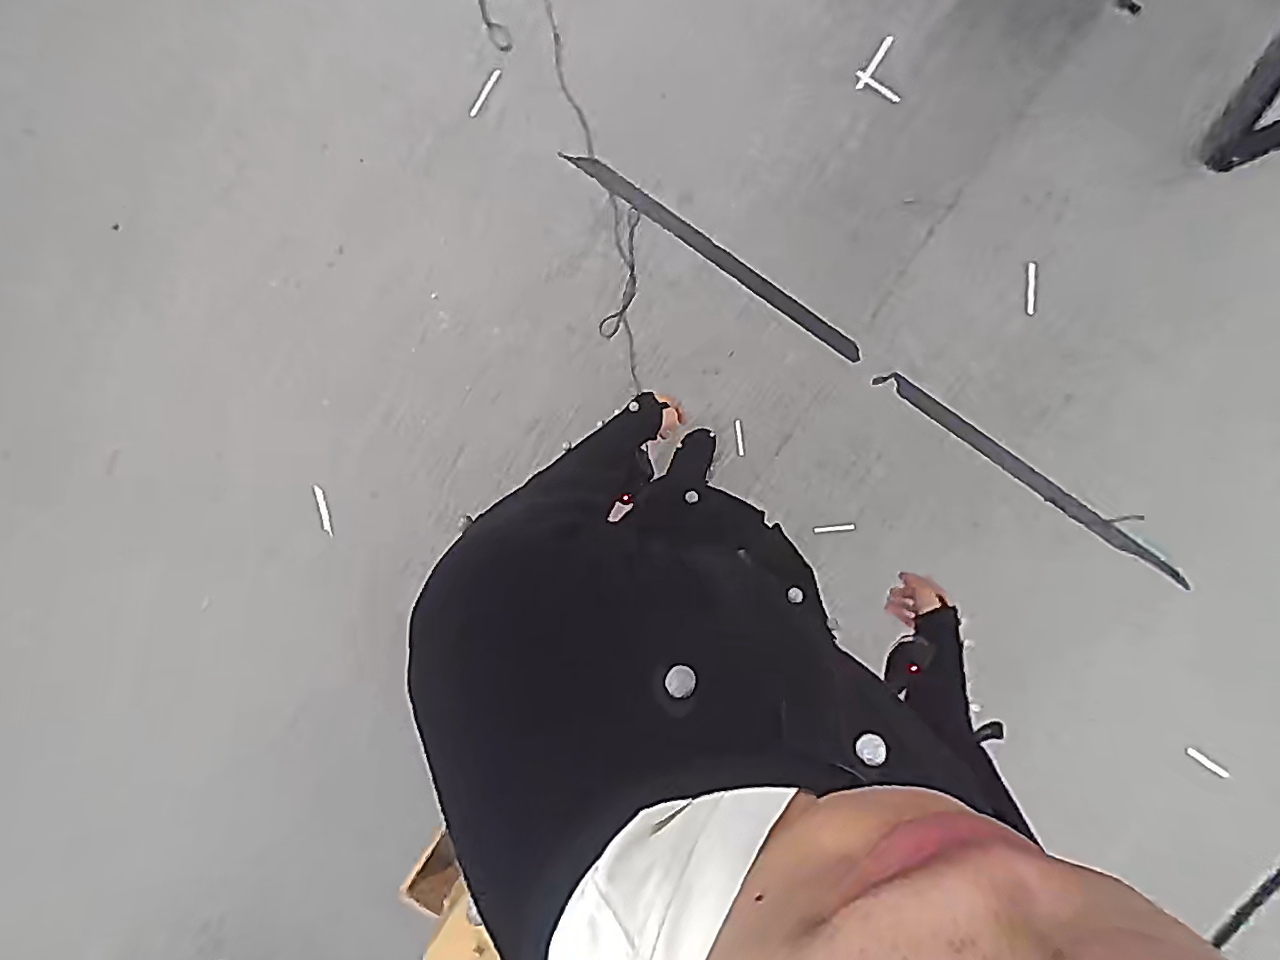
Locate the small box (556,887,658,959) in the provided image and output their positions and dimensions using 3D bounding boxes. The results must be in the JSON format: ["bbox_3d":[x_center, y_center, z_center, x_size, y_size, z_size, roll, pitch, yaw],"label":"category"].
[{"bbox_3d":[-0.071,1.002,1.107,0.168,0.176,0.179,34,99,-3],"label":"small box"}]

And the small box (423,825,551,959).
[{"bbox_3d":[-0.298,0.860,1.094,0.168,0.176,0.179,31,97,-2],"label":"small box"}]
